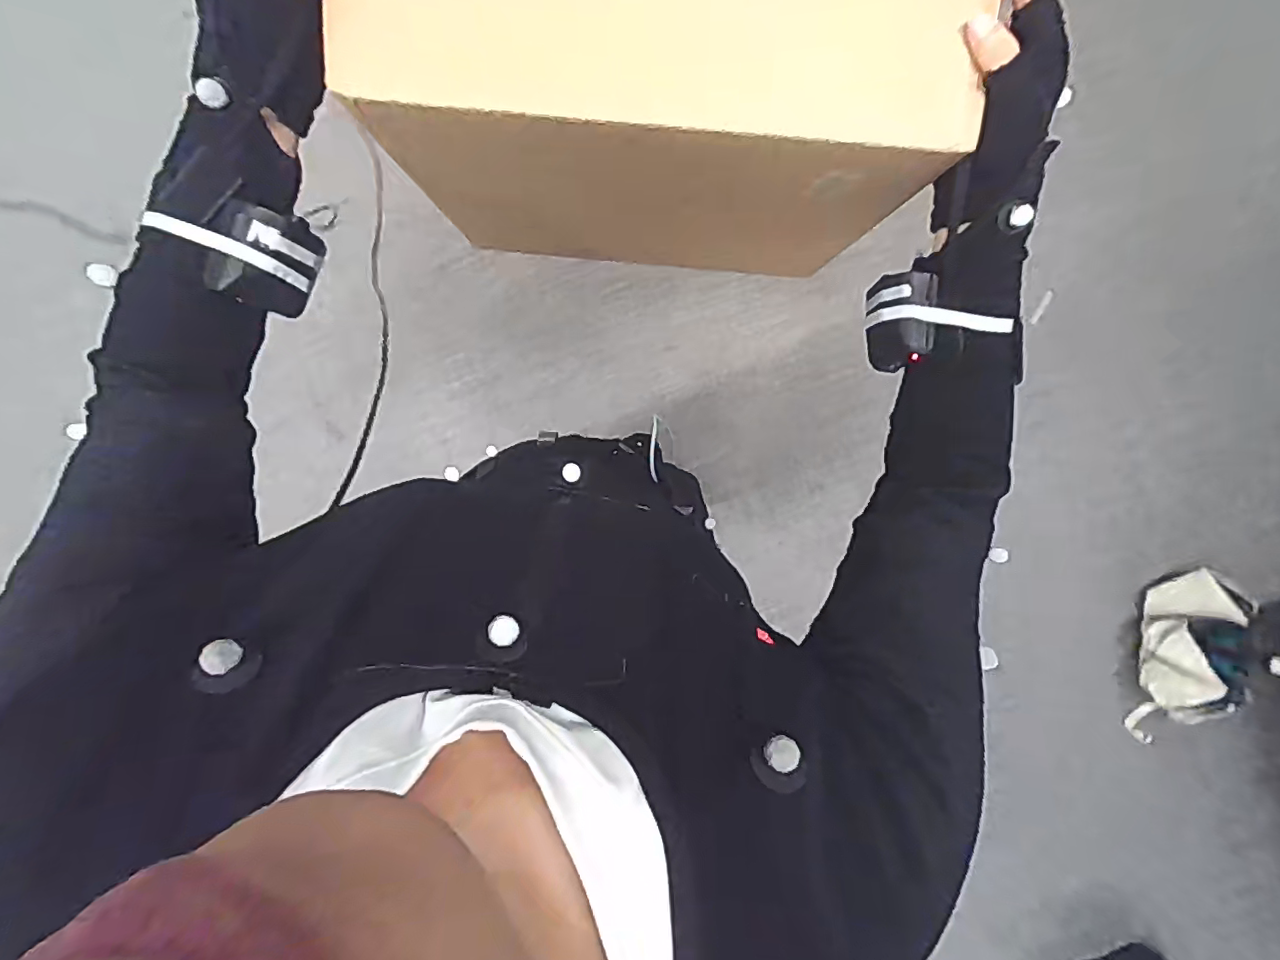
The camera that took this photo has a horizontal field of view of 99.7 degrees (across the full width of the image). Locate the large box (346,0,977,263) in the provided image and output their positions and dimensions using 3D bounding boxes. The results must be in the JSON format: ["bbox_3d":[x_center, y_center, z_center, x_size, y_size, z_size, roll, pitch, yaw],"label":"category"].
[{"bbox_3d":[0.014,-0.399,0.477,0.408,0.320,0.320,3,97,-3],"label":"large box"}]
